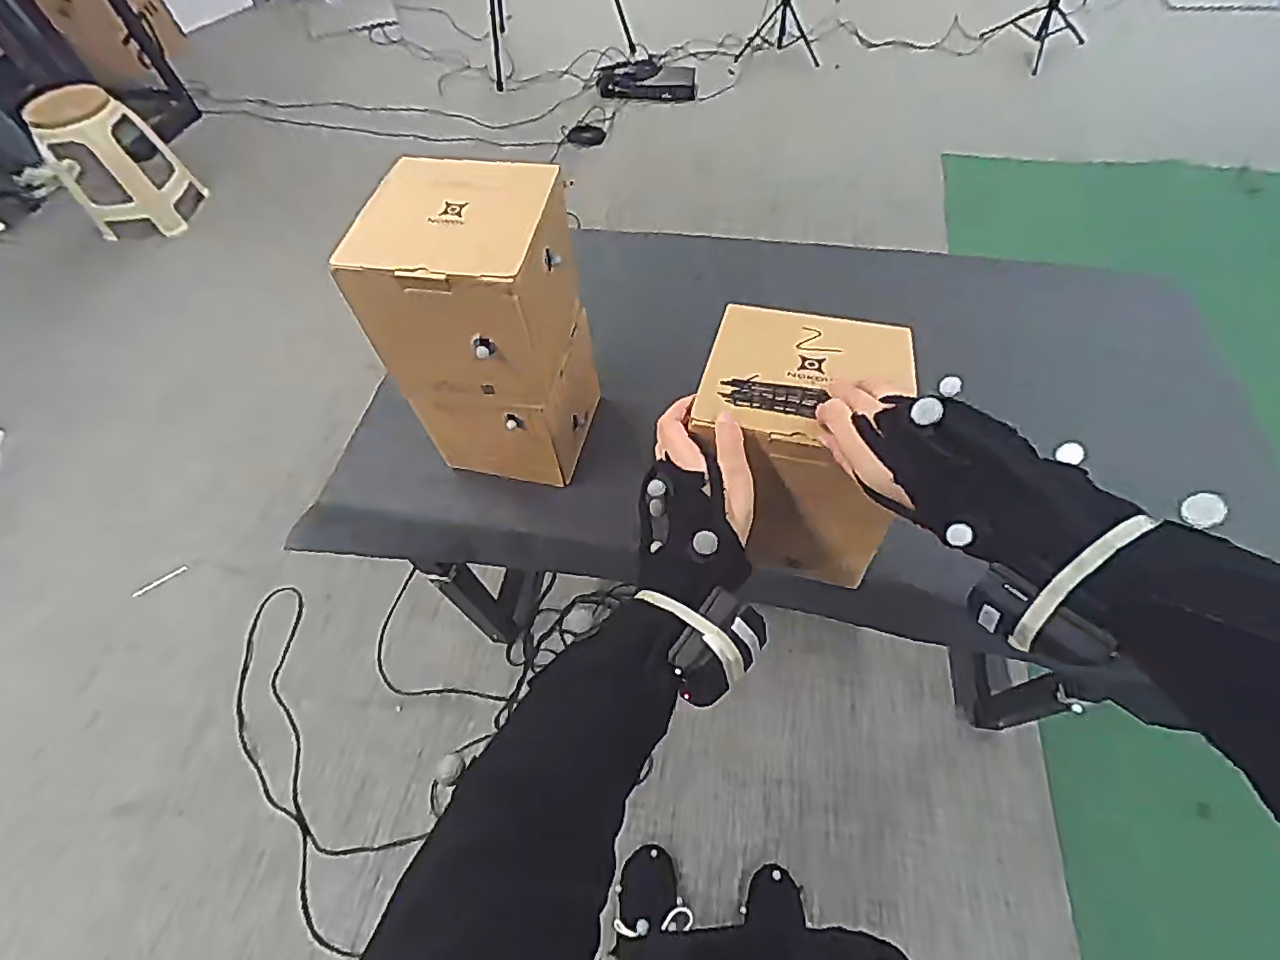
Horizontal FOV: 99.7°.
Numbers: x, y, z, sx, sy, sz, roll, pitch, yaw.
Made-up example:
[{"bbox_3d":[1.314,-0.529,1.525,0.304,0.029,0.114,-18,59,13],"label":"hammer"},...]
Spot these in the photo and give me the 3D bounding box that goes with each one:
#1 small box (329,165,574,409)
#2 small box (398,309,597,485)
[{"bbox_3d":[-0.169,-0.192,0.557,0.168,0.176,0.179,6,57,5],"label":"small box"},{"bbox_3d":[-0.166,-0.111,0.698,0.179,0.176,0.168,10,58,9],"label":"small box"}]
